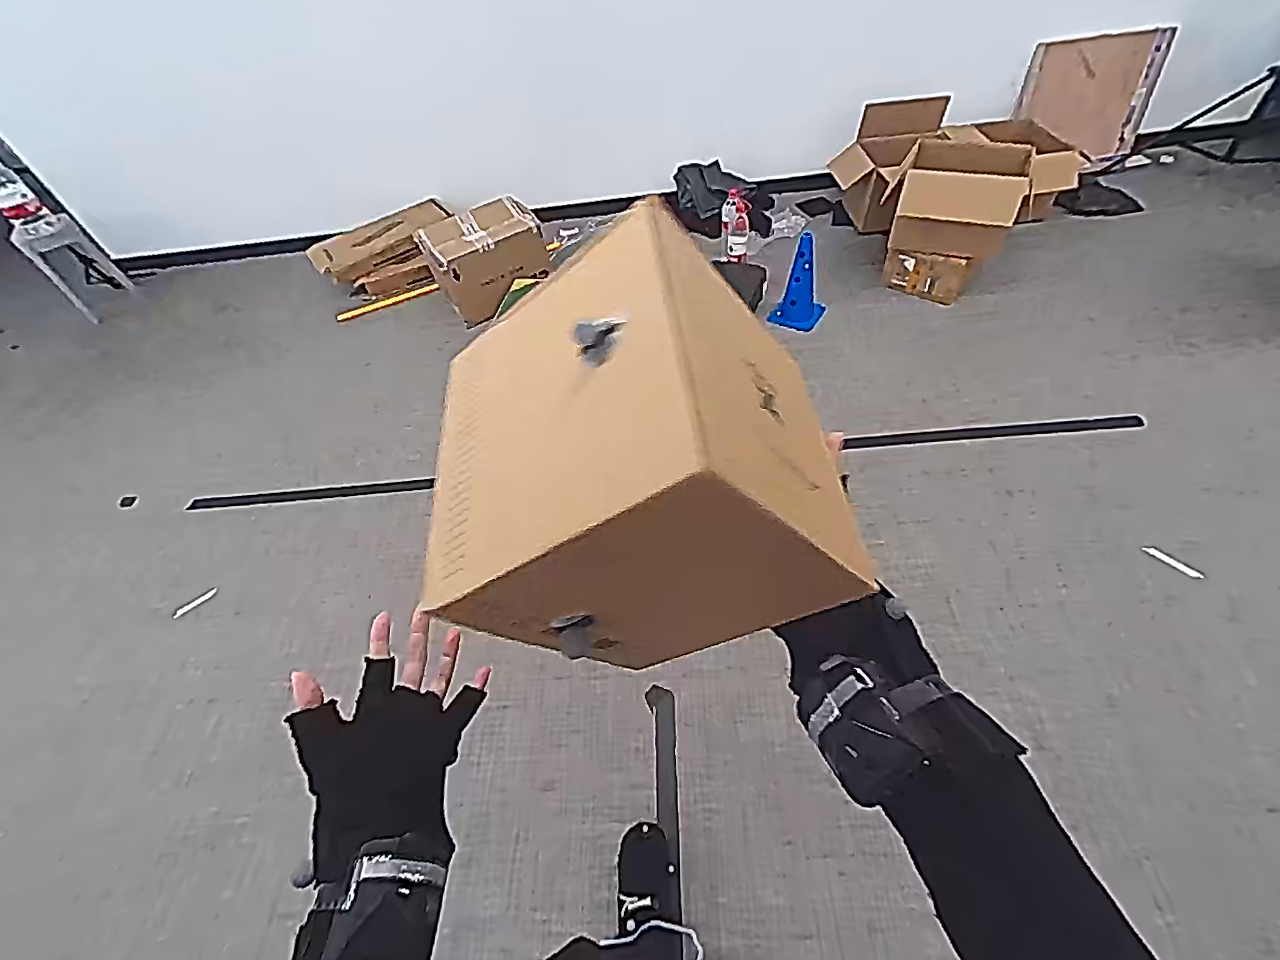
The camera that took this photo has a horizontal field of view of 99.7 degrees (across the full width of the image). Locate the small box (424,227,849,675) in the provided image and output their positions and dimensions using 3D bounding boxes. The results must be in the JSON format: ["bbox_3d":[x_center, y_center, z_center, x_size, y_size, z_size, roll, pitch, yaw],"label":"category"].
[{"bbox_3d":[-0.008,-0.001,0.329,0.176,0.168,0.179,-30,49,30],"label":"small box"}]
